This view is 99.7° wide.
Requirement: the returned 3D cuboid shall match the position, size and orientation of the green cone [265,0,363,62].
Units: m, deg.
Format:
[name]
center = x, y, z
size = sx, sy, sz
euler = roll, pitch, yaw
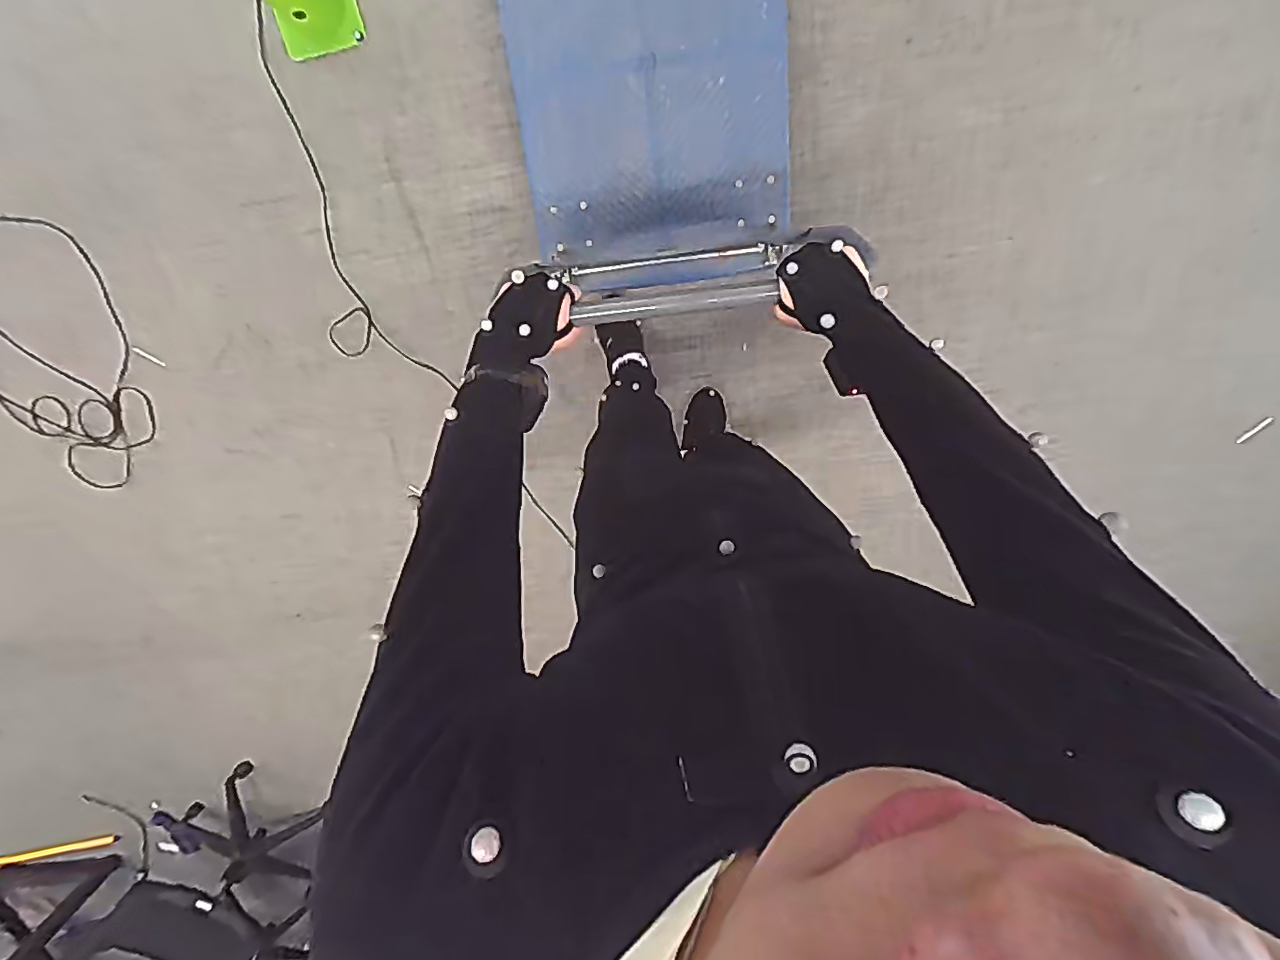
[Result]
[green cone]
center = -0.770, -1.040, 1.084
size = 0.202, 0.368, 0.200
euler = -10, 110, 8
